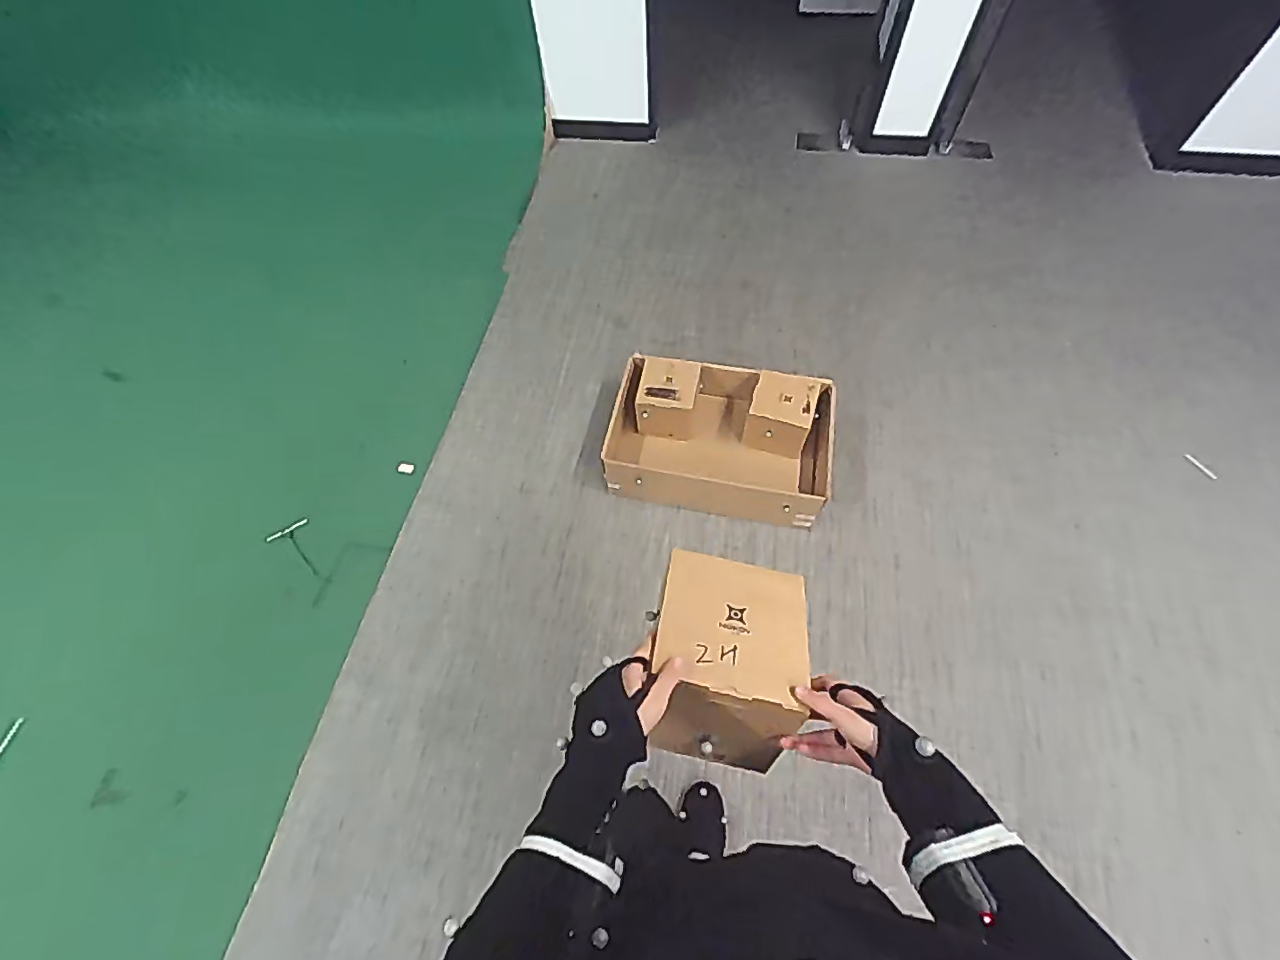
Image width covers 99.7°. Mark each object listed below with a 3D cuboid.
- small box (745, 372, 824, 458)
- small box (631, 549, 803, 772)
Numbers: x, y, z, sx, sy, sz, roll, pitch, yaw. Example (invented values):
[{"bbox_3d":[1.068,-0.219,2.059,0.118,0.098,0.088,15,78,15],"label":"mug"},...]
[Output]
[{"bbox_3d":[0.415,-0.184,1.577,0.179,0.176,0.168,17,65,14],"label":"small box"},{"bbox_3d":[0.089,0.217,0.654,0.168,0.176,0.179,13,42,4],"label":"small box"}]
